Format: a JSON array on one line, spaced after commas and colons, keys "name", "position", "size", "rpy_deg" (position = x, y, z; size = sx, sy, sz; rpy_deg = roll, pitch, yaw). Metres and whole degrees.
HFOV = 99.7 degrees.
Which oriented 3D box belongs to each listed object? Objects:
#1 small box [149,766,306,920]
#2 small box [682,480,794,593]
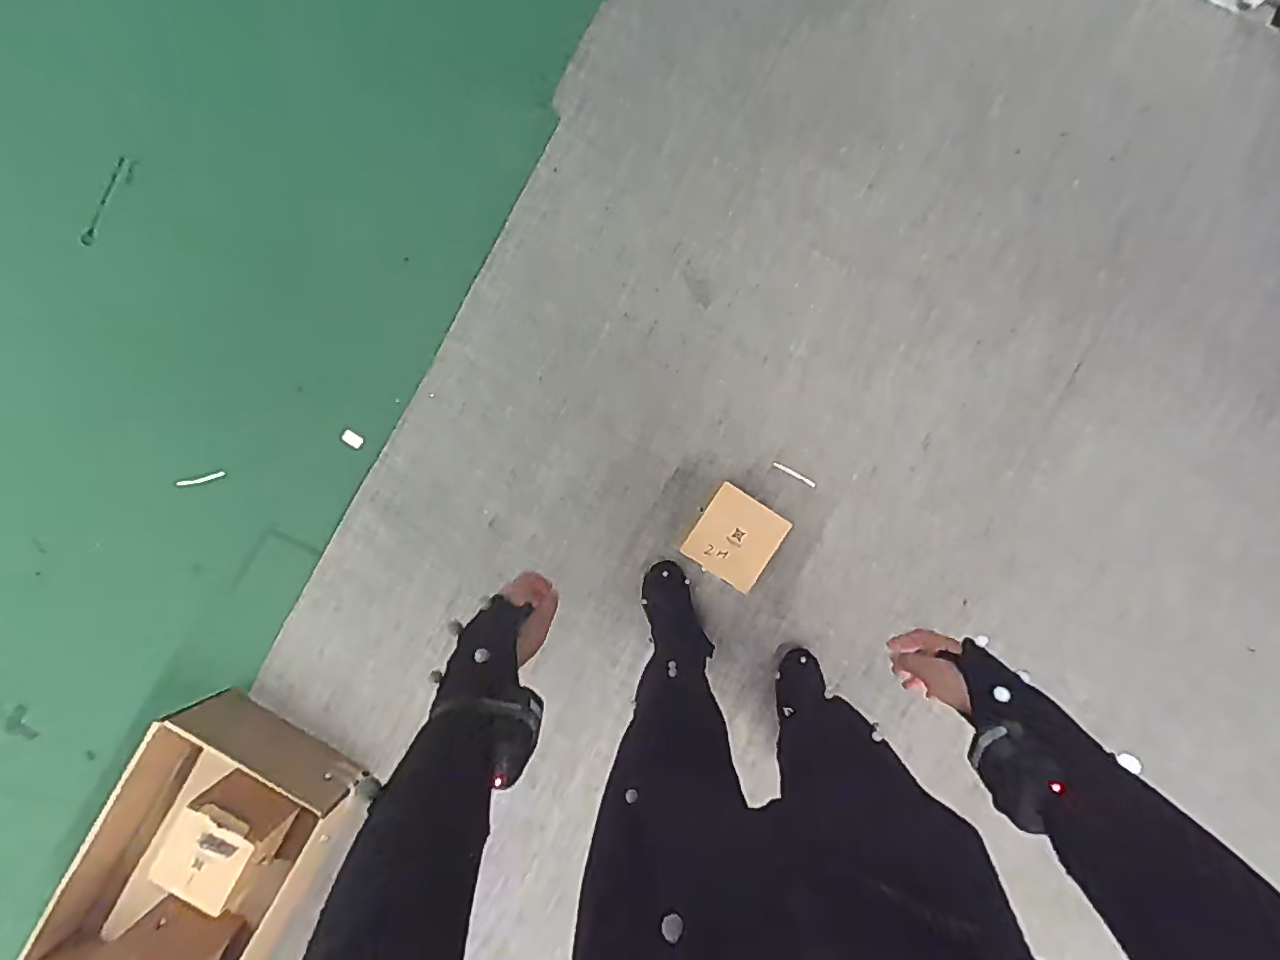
[{"name": "small box", "position": [-0.847, 0.746, 1.134], "size": [0.168, 0.176, 0.179], "rpy_deg": [30, 91, 0]}, {"name": "small box", "position": [0.201, 0.115, 1.173], "size": [0.168, 0.176, 0.179], "rpy_deg": [34, 90, 1]}]
